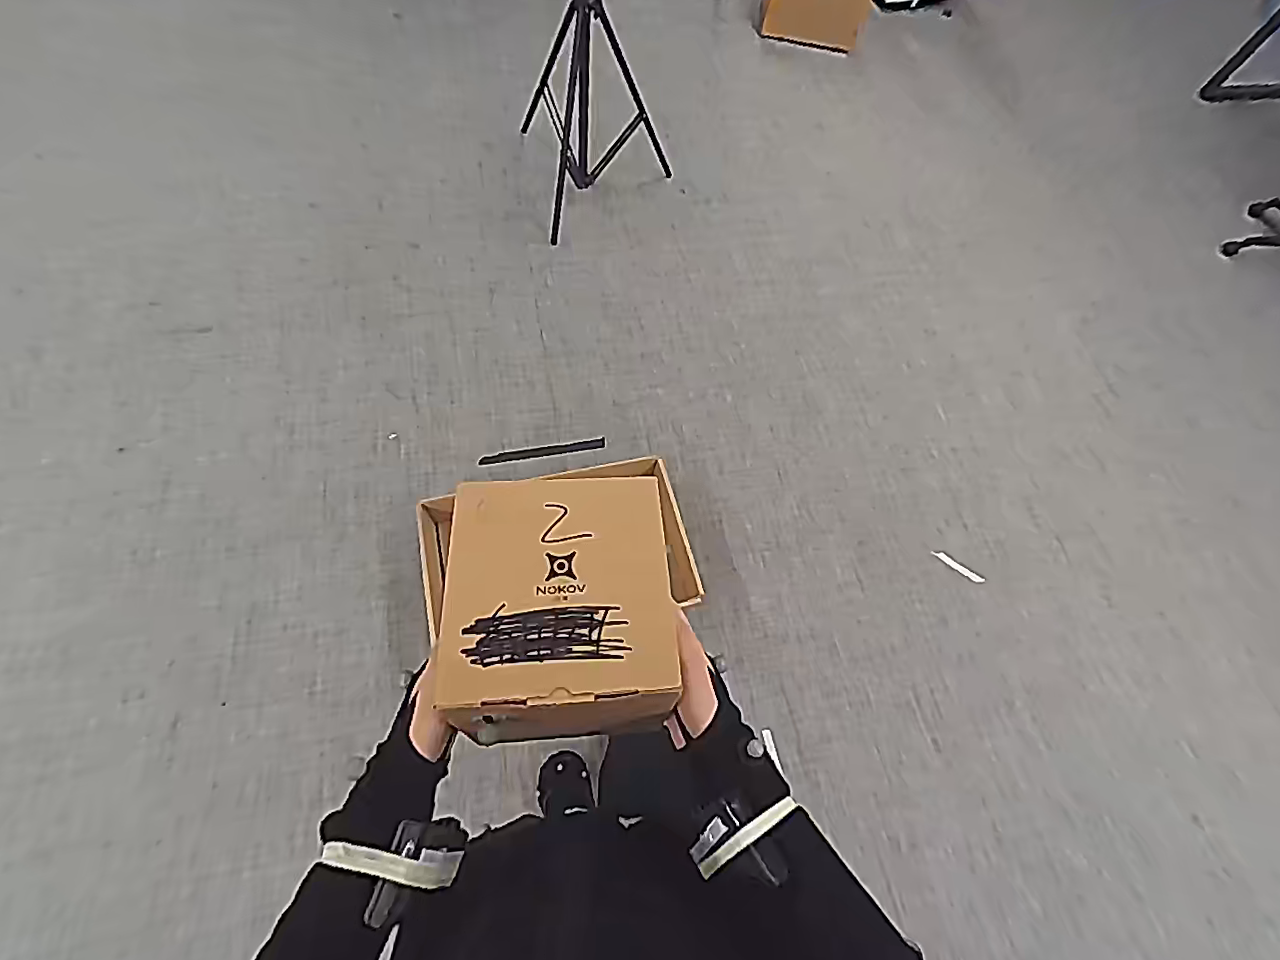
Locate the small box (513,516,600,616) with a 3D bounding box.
[{"bbox_3d":[-0.205,0.214,1.324,0.168,0.176,0.179,-17,70,-13],"label":"small box"}]
